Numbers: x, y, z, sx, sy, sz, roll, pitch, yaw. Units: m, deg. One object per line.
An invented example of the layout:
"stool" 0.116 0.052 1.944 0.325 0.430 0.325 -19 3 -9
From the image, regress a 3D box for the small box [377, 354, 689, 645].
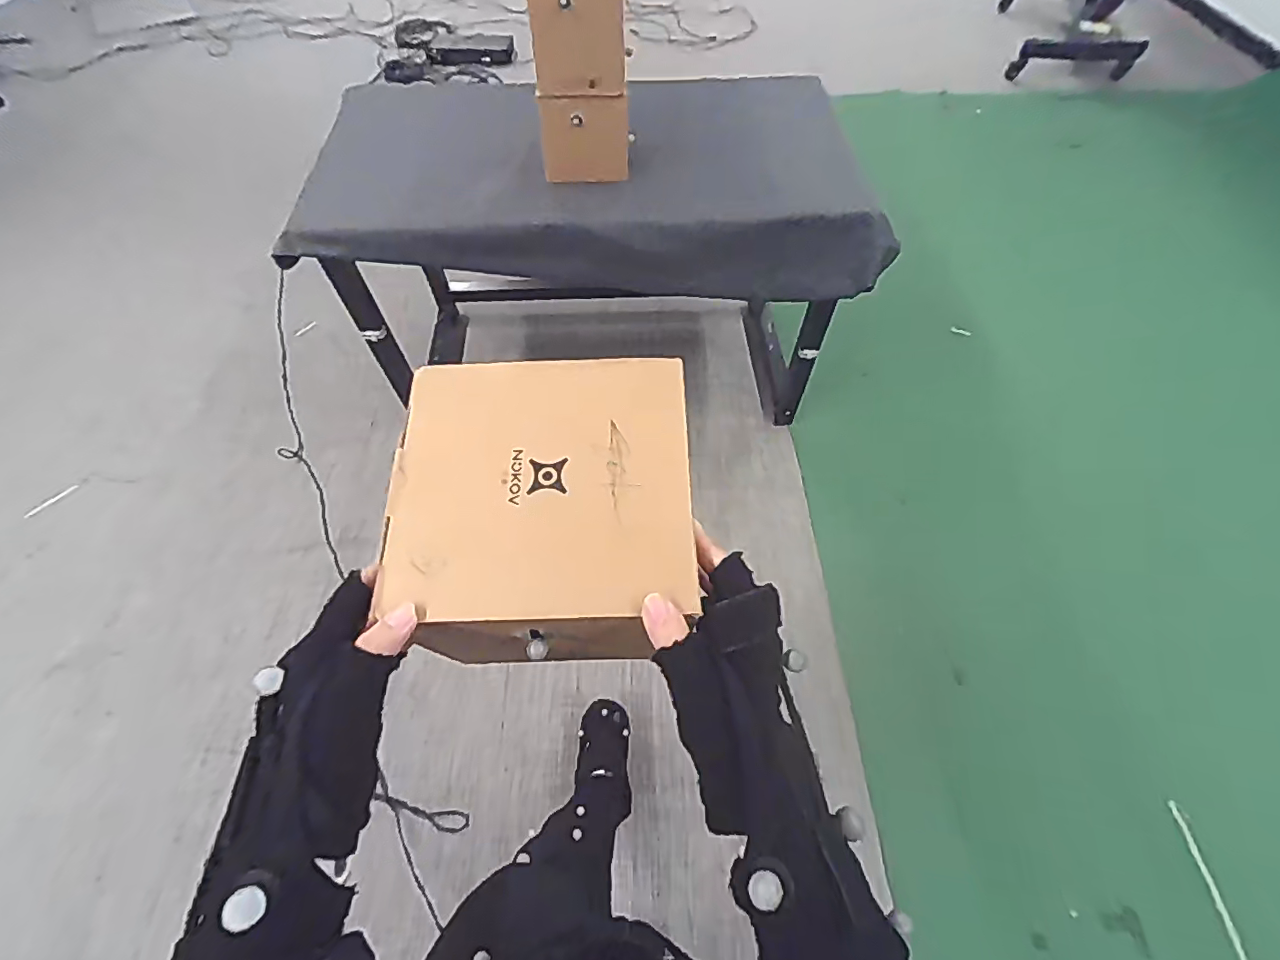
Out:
"small box" -0.059 0.026 0.401 0.179 0.176 0.168 -1 65 0

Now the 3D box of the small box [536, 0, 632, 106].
"small box" -0.103 -0.838 1.017 0.168 0.176 0.179 -2 59 -3

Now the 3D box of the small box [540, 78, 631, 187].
"small box" -0.109 -0.749 1.152 0.179 0.176 0.168 -1 58 -2
